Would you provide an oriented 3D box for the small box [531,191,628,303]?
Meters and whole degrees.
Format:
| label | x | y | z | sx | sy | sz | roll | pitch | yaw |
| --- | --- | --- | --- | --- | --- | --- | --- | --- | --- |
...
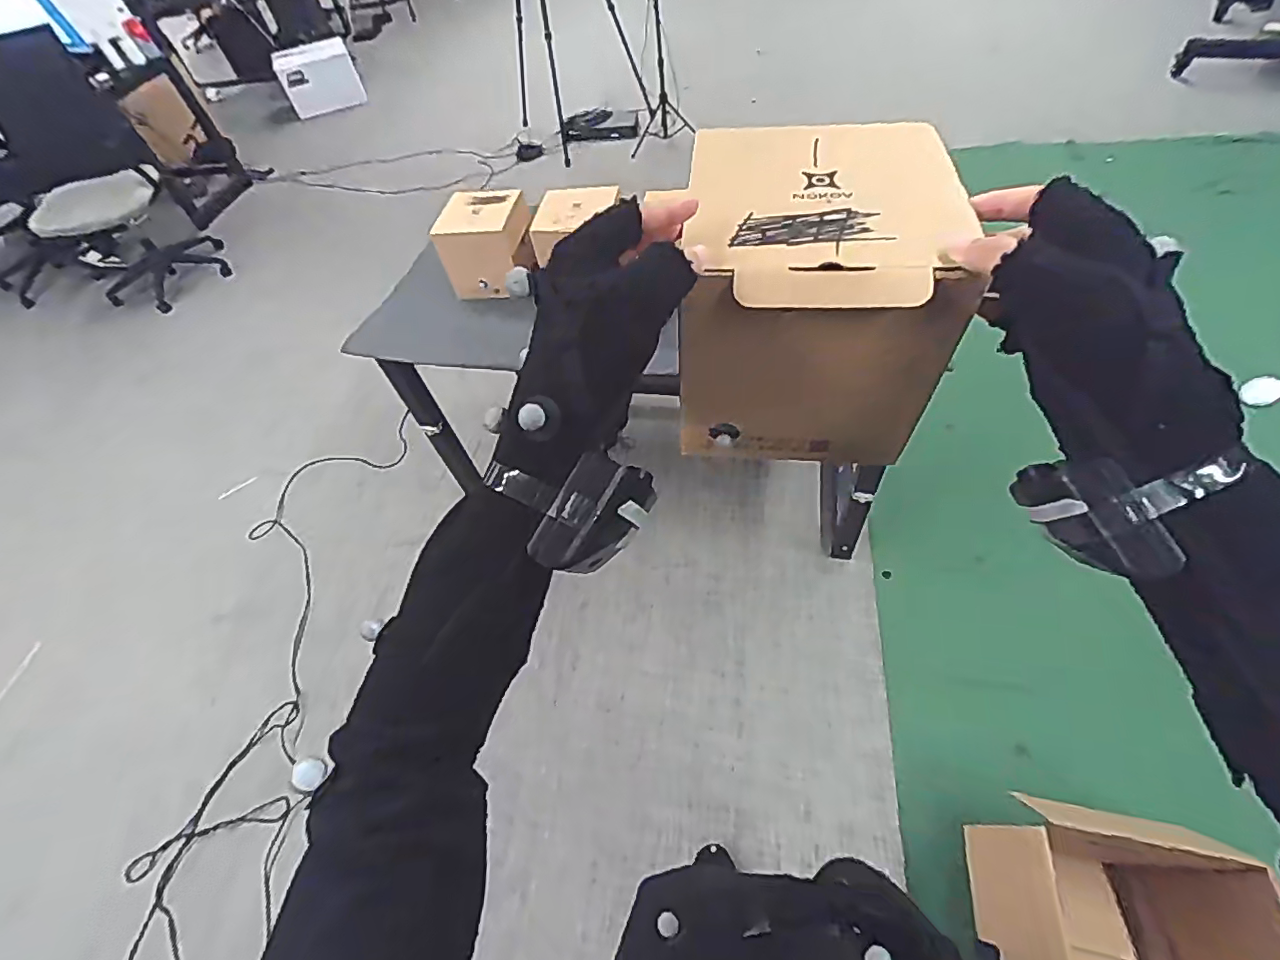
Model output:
| label | x | y | z | sx | sy | sz | roll | pitch | yaw |
| --- | --- | --- | --- | --- | --- | --- | --- | --- | --- |
| small box | -0.124 | -0.516 | 1.203 | 0.168 | 0.176 | 0.179 | 2 | 54 | 10 |

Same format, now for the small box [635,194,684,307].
| label | x | y | z | sx | sy | sz | roll | pitch | yaw |
| --- | --- | --- | --- | --- | --- | --- | --- | --- | --- |
| small box | 0.091 | -0.483 | 1.149 | 0.168 | 0.176 | 0.179 | 2 | 53 | 10 |

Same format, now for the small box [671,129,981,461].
| label | x | y | z | sx | sy | sz | roll | pitch | yaw |
| --- | --- | --- | --- | --- | --- | --- | --- | --- | --- |
| small box | 0.115 | -0.130 | 0.403 | 0.168 | 0.176 | 0.179 | 3 | 54 | 7 |
